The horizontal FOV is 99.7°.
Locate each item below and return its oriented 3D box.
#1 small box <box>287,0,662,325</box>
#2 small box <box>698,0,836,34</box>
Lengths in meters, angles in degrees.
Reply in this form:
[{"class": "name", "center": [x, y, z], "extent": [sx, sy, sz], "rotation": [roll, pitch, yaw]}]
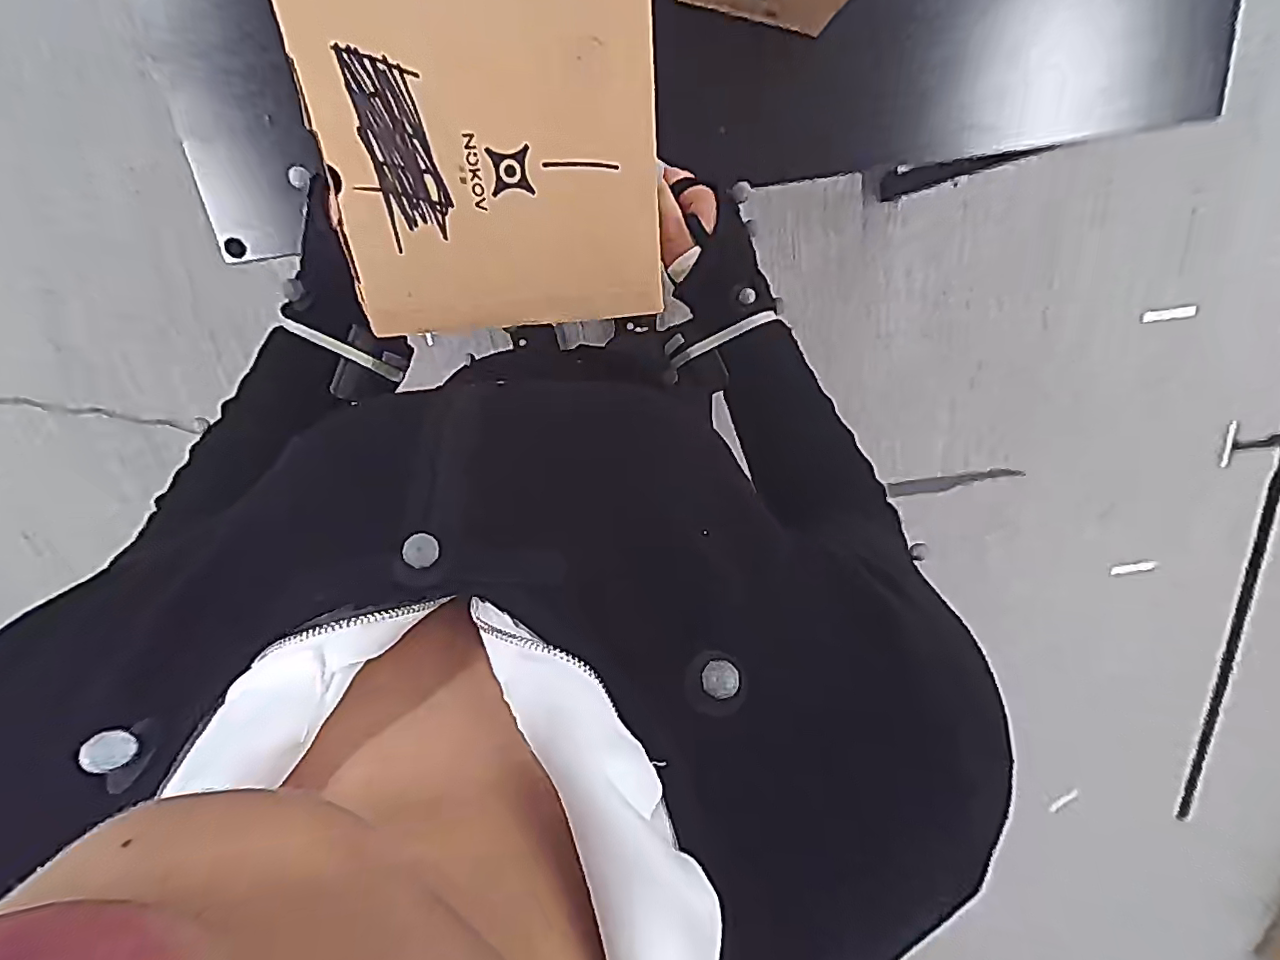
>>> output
[{"class": "small box", "center": [-0.083, -0.211, 0.363], "extent": [0.179, 0.176, 0.168], "rotation": [-6, 121, -3]}, {"class": "small box", "center": [0.137, -0.564, 0.501], "extent": [0.168, 0.176, 0.179], "rotation": [9, 107, -8]}]
